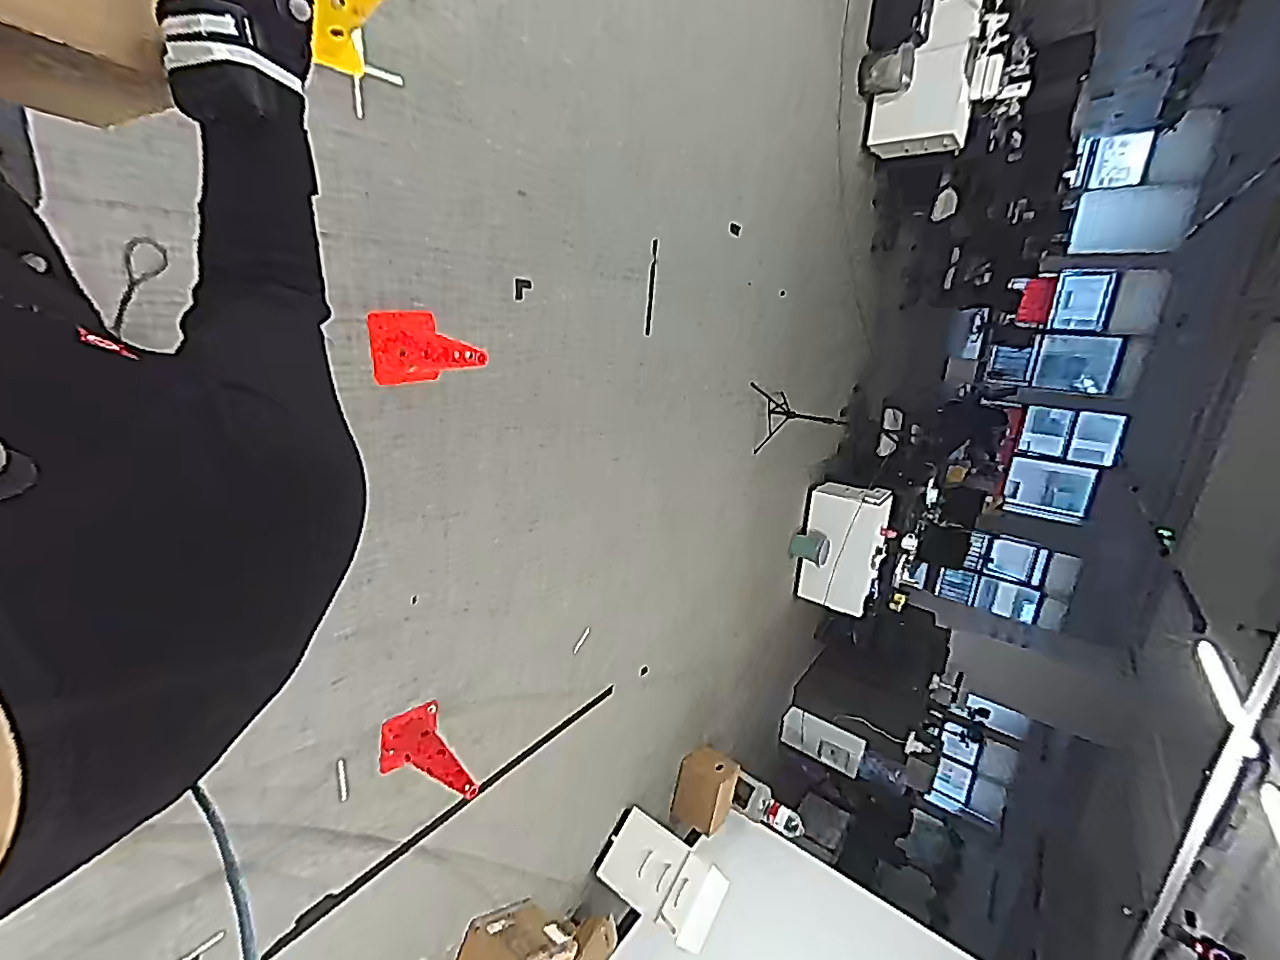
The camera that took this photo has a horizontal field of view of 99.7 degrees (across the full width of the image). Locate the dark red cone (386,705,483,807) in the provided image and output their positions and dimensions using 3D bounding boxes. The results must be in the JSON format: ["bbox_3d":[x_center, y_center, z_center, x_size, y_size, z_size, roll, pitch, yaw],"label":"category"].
[{"bbox_3d":[-0.637,0.917,1.736,0.201,0.394,0.202,-8,109,-52],"label":"dark red cone"}]

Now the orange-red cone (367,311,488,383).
[{"bbox_3d":[-0.535,-0.345,1.440,0.198,0.360,0.199,-21,118,-50],"label":"orange-red cone"}]

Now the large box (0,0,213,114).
[{"bbox_3d":[-0.525,-0.447,0.274,0.408,0.320,0.320,-13,117,-54],"label":"large box"}]
